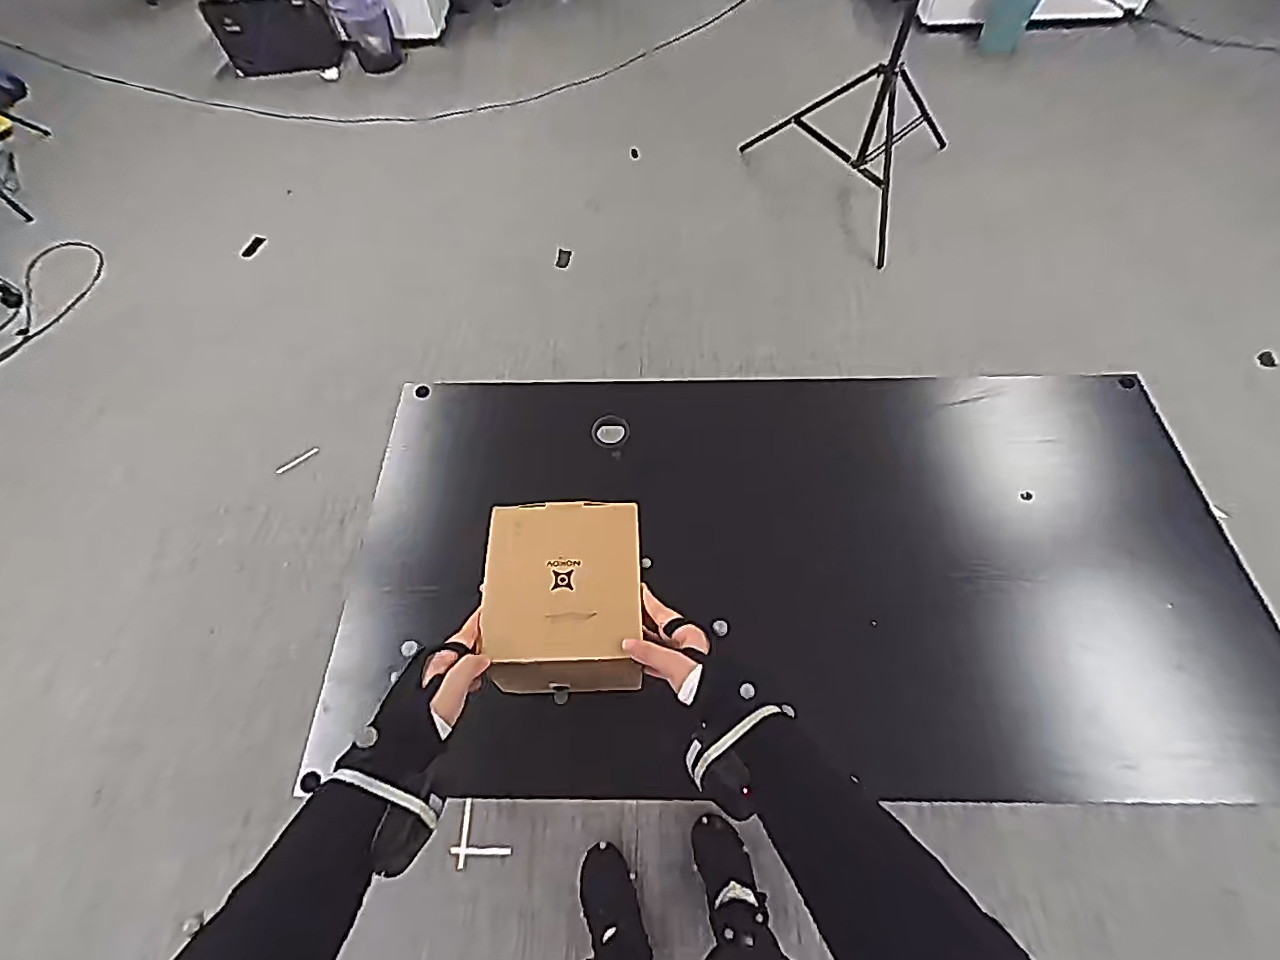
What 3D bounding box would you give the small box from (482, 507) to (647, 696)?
[{"bbox_3d":[-0.080,0.149,0.647,0.168,0.176,0.179,-3,59,-1],"label":"small box"}]
